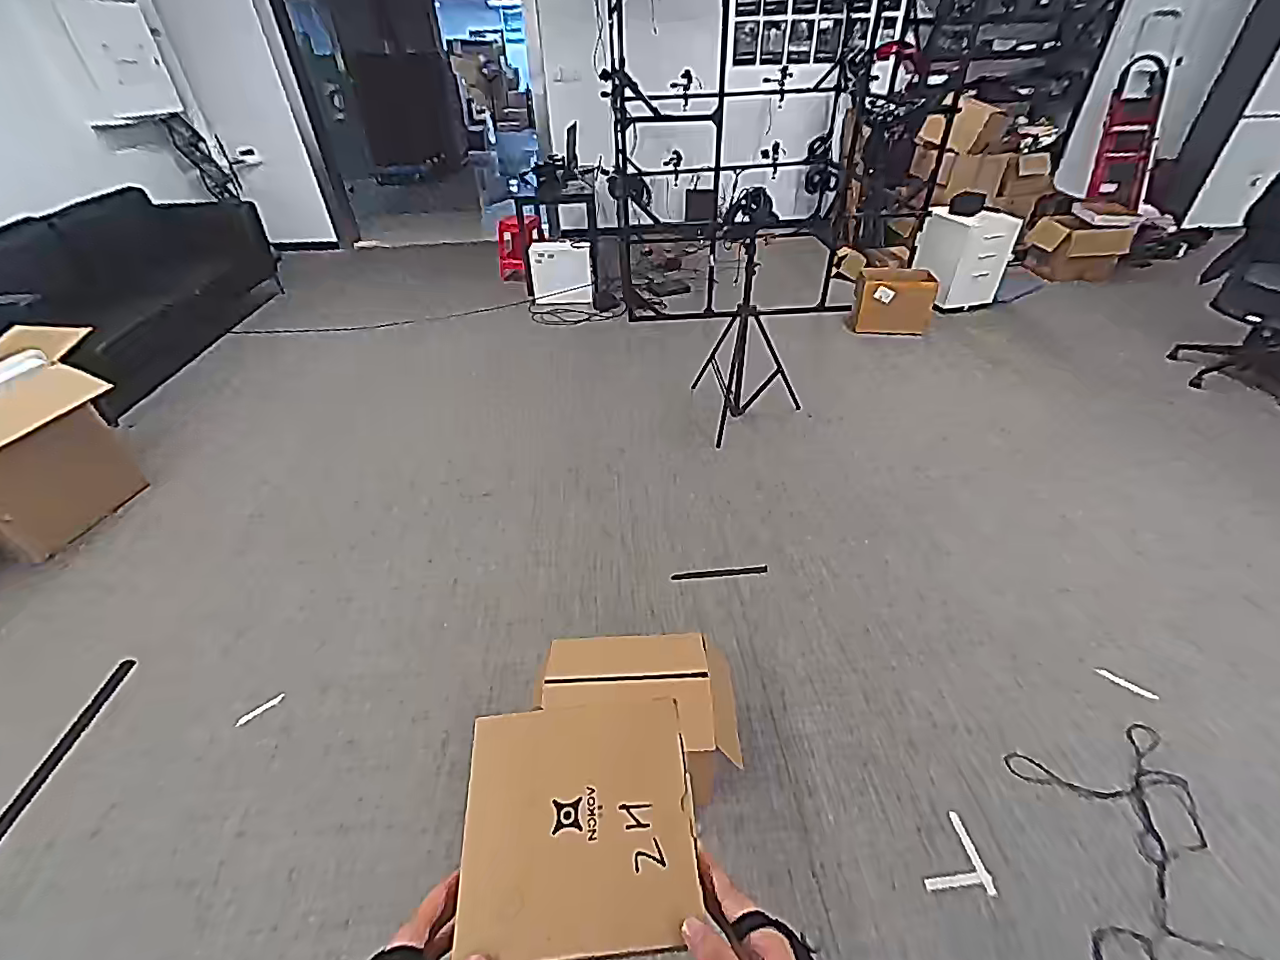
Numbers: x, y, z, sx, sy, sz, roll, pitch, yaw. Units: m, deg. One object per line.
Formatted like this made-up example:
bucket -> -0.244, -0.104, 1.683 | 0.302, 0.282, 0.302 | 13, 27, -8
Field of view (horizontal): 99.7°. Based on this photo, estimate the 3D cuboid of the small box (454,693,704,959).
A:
small box -> -0.046, 0.309, 0.480 | 0.179, 0.176, 0.168 | -5, 49, -3
